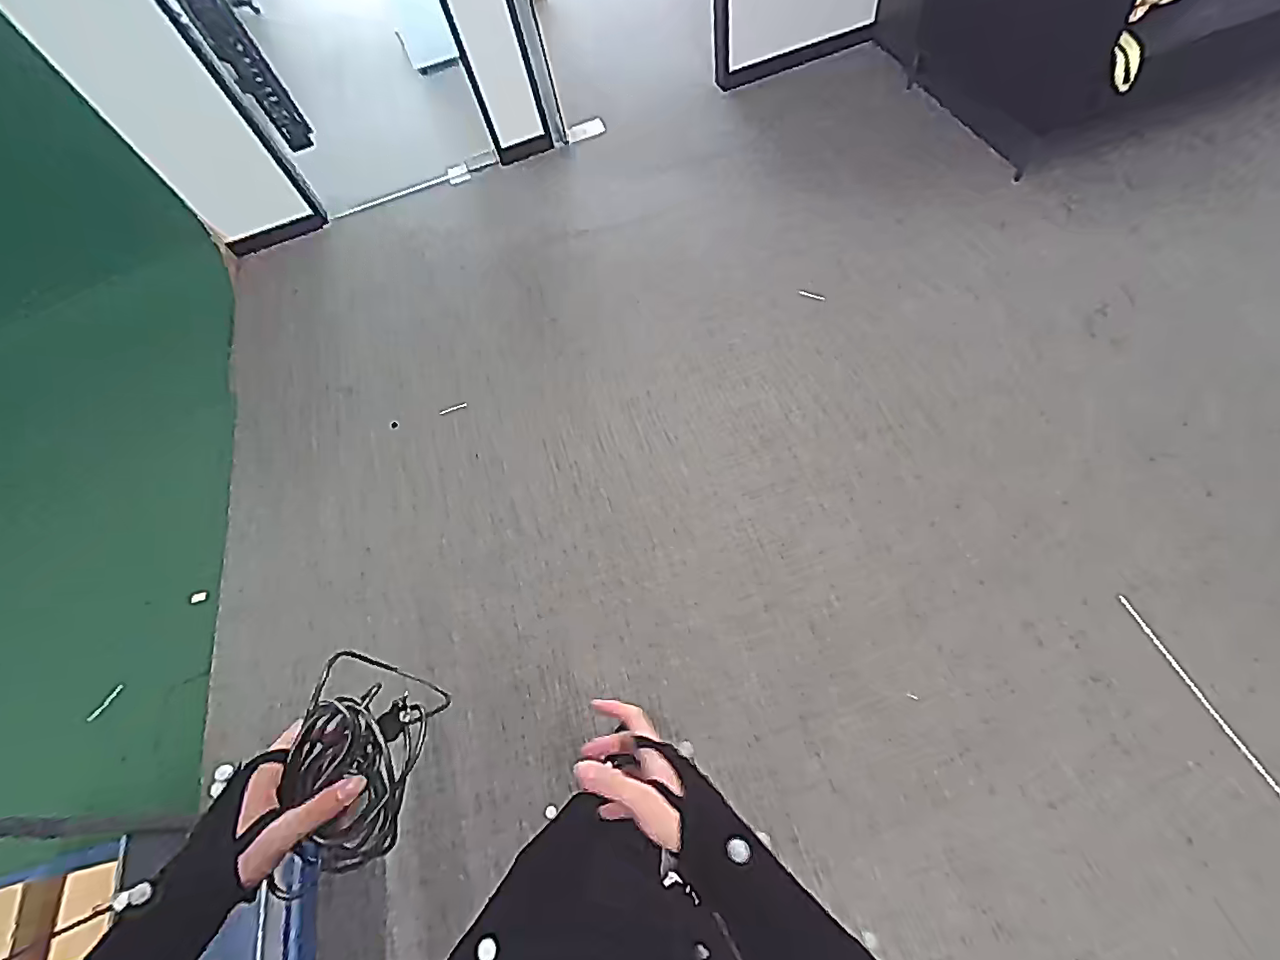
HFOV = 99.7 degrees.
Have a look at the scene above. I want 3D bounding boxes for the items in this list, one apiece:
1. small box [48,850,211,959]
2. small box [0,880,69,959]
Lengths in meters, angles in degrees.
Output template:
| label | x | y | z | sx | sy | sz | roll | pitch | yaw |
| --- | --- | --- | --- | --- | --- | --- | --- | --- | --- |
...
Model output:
| label | x | y | z | sx | sy | sz | roll | pitch | yaw |
| --- | --- | --- | --- | --- | --- | --- | --- | --- | --- |
| small box | -1.078 | 0.913 | 1.154 | 0.179 | 0.176 | 0.168 | -15 | 60 | 0 |
| small box | -1.333 | 0.980 | 1.157 | 0.179 | 0.176 | 0.168 | -18 | 61 | -2 |
